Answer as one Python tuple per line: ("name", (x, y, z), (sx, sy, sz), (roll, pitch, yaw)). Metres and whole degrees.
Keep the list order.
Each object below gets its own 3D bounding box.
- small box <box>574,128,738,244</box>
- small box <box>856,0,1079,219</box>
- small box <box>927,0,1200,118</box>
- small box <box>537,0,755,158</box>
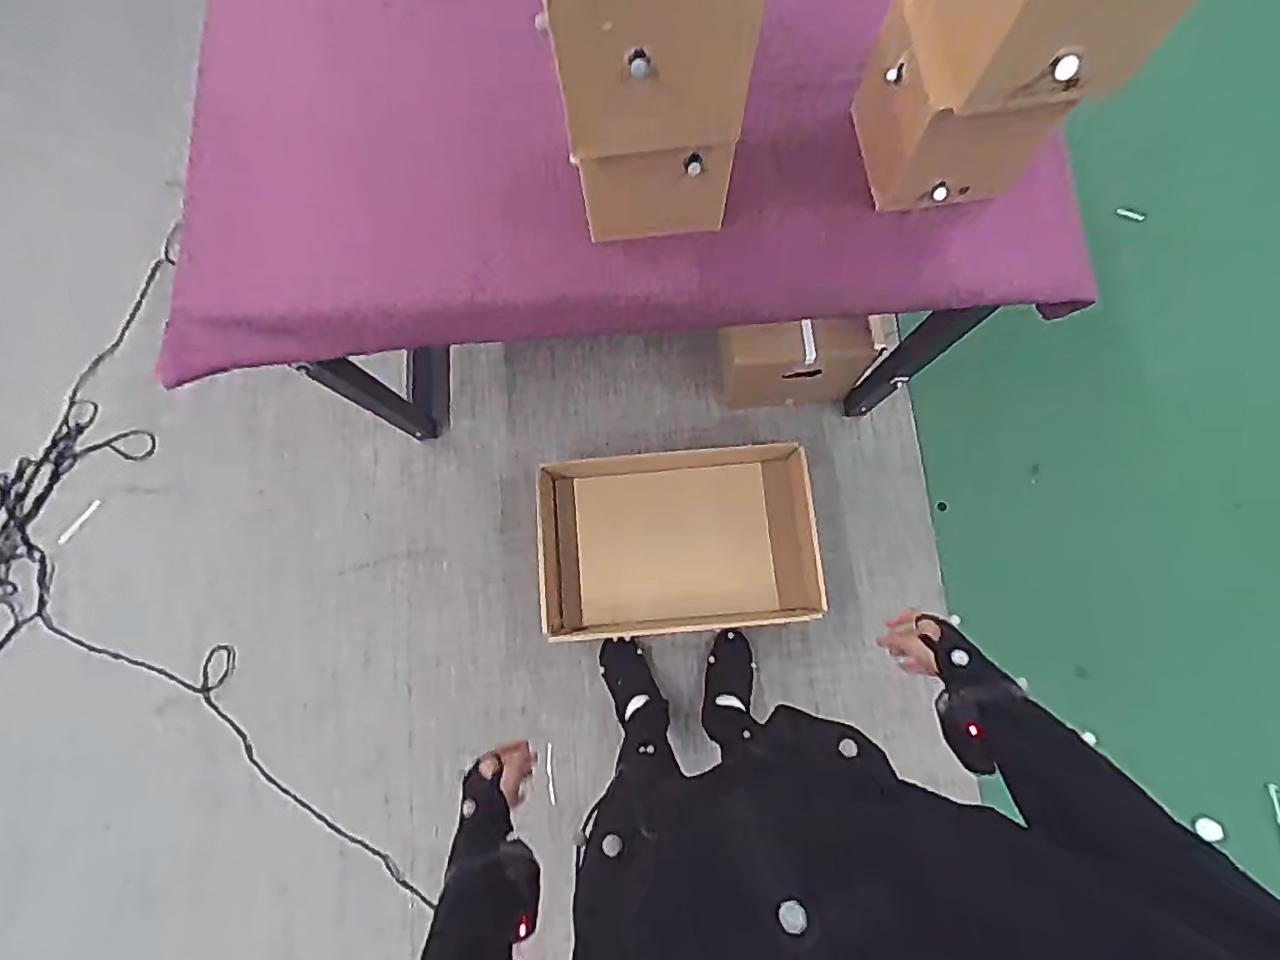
("small box", (0.014, -0.415, 0.660), (0.179, 0.176, 0.168), (-5, 77, 2))
("small box", (0.379, -0.453, 0.654), (0.168, 0.176, 0.179), (-7, 77, 2))
("small box", (0.388, -0.477, 0.490), (0.168, 0.176, 0.179), (-7, 78, 3))
("small box", (0.005, -0.430, 0.495), (0.179, 0.176, 0.168), (-7, 78, 1))
